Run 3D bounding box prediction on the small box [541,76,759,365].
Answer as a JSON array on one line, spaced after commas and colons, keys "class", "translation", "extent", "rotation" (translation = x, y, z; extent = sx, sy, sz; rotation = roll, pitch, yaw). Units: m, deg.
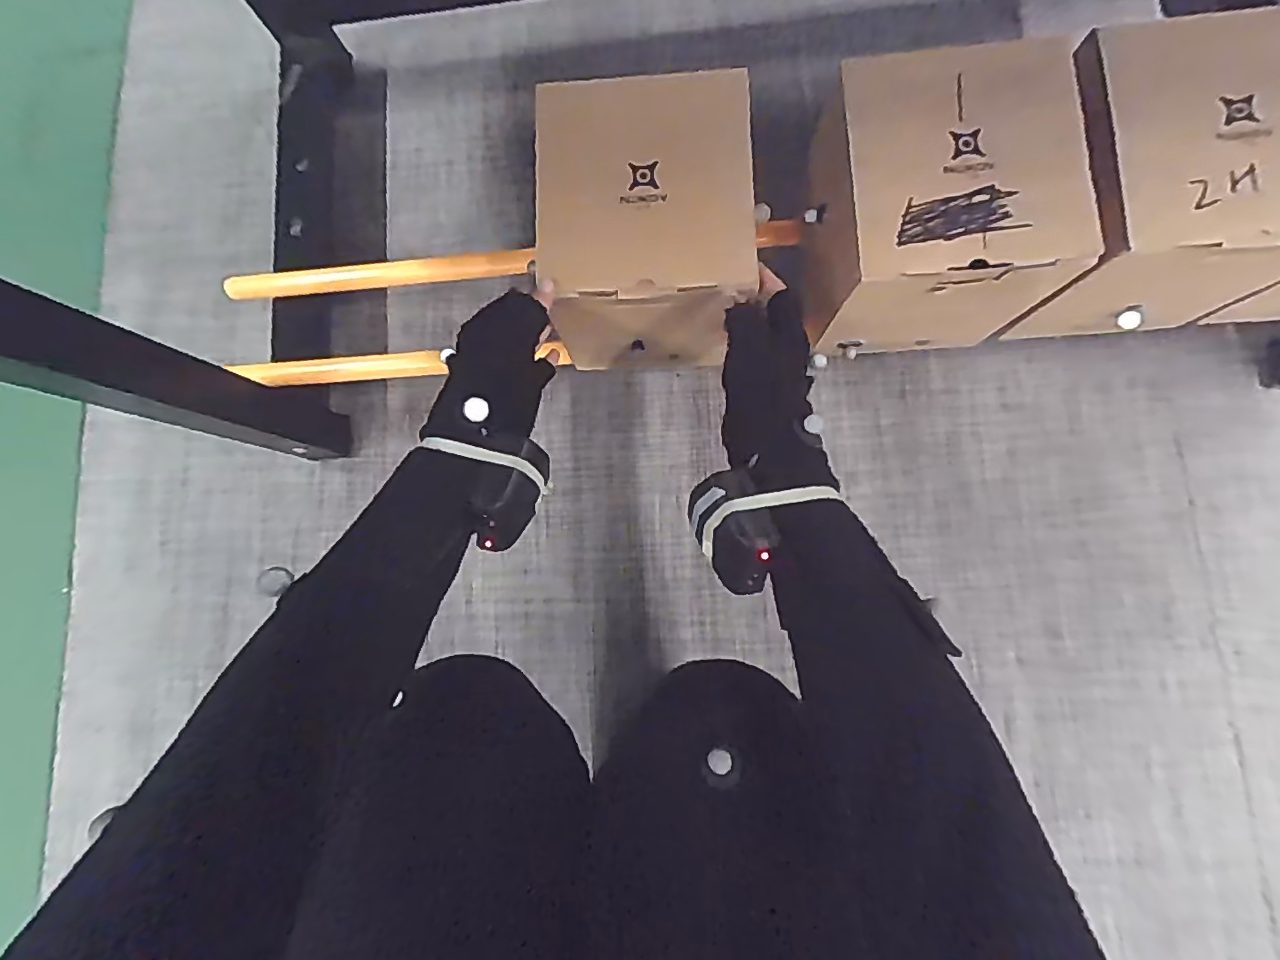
[{"class": "small box", "translation": [0.010, -0.218, 0.493], "extent": [0.168, 0.176, 0.179], "rotation": [-2, 83, 3]}]
